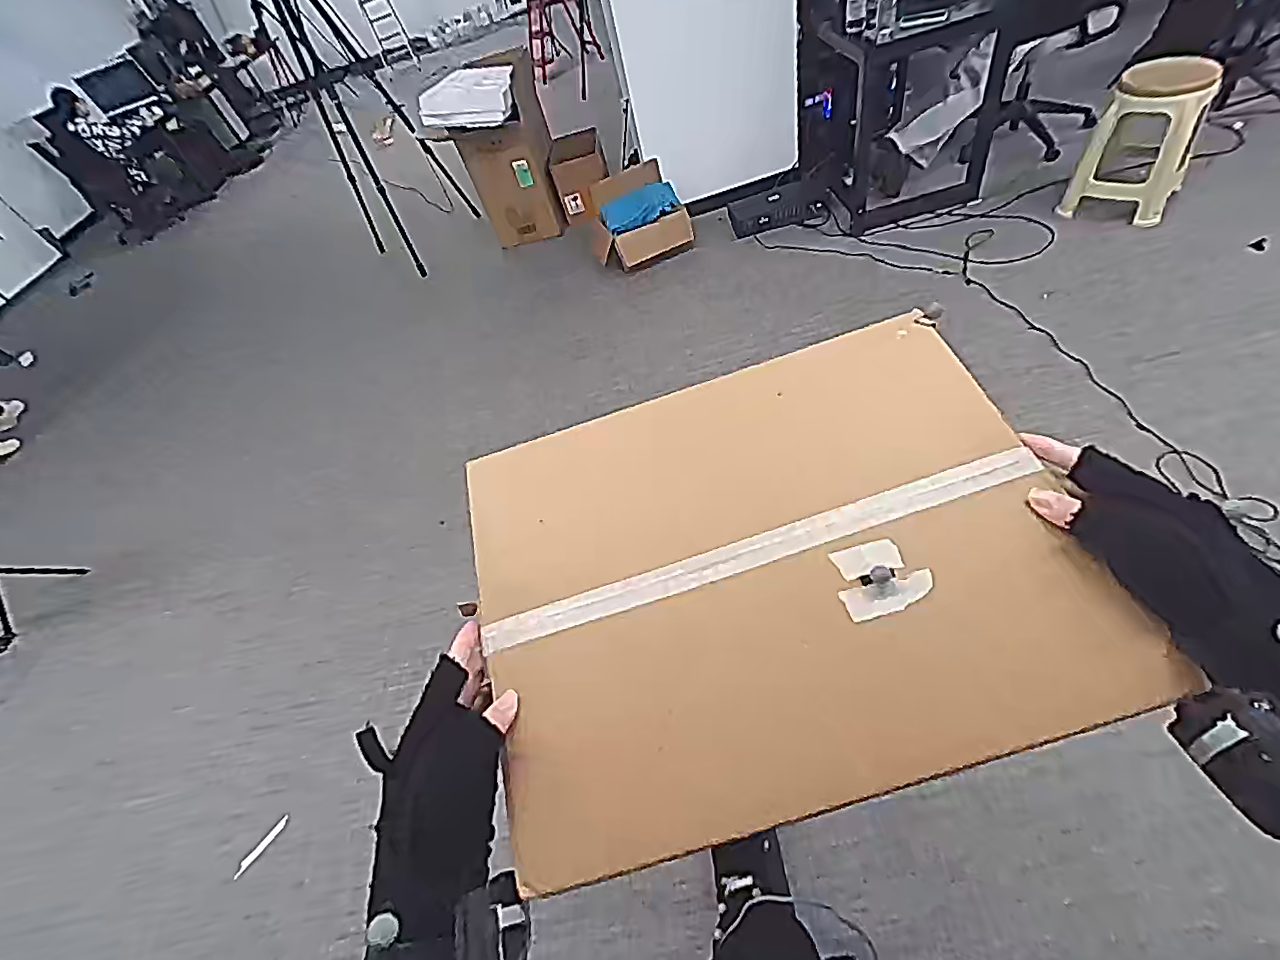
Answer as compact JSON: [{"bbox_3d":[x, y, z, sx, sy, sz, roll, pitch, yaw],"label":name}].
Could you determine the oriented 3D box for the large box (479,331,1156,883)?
[{"bbox_3d":[0.108,0.127,0.527,0.408,0.320,0.320,-18,60,1],"label":"large box"}]
